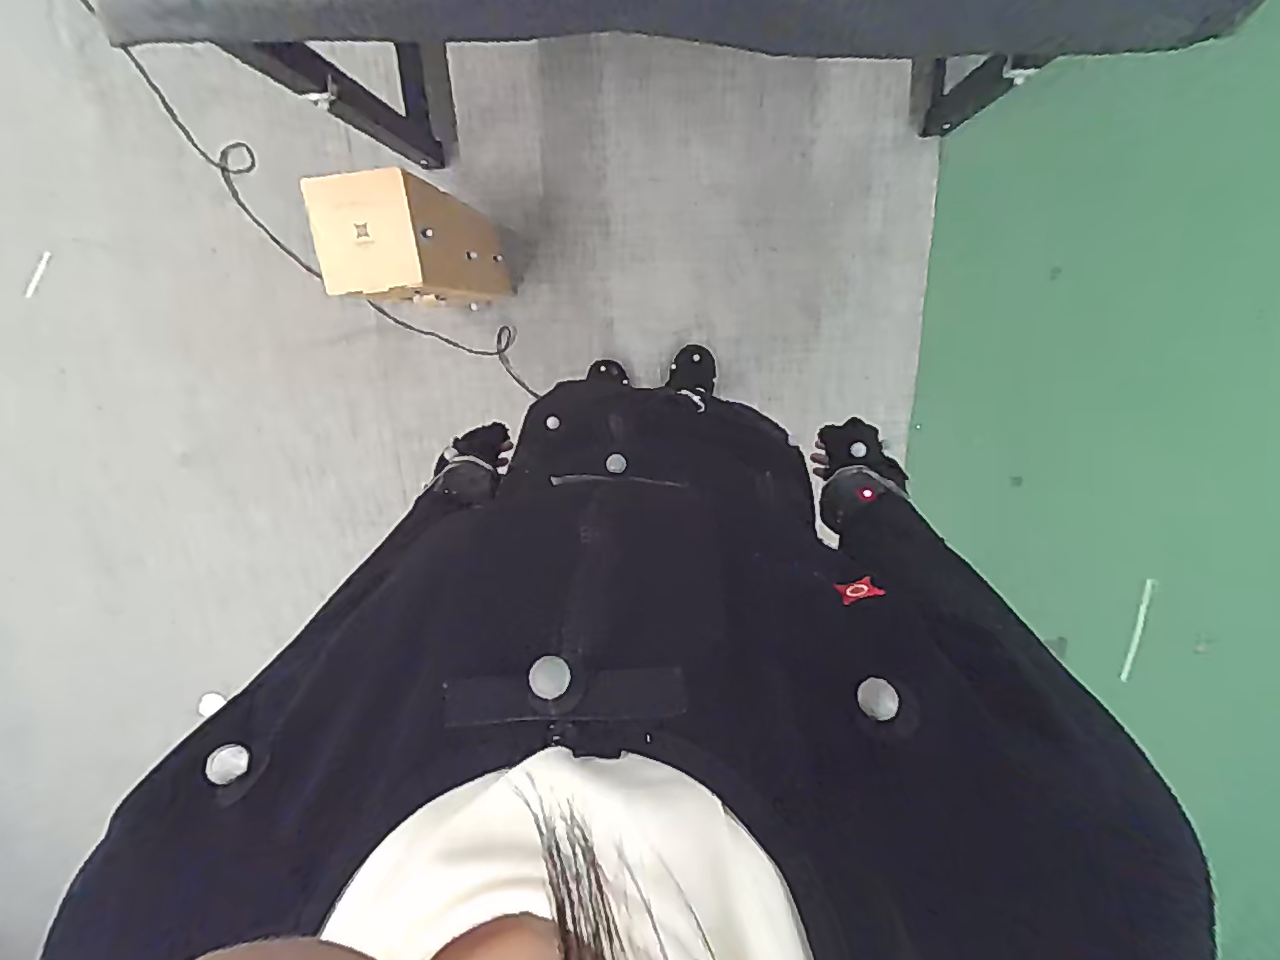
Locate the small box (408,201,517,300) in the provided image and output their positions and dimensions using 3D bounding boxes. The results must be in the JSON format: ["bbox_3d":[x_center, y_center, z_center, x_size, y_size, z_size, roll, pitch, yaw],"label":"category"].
[{"bbox_3d":[-0.397,-0.516,1.239,0.168,0.176,0.179,-8,107,7],"label":"small box"}]
